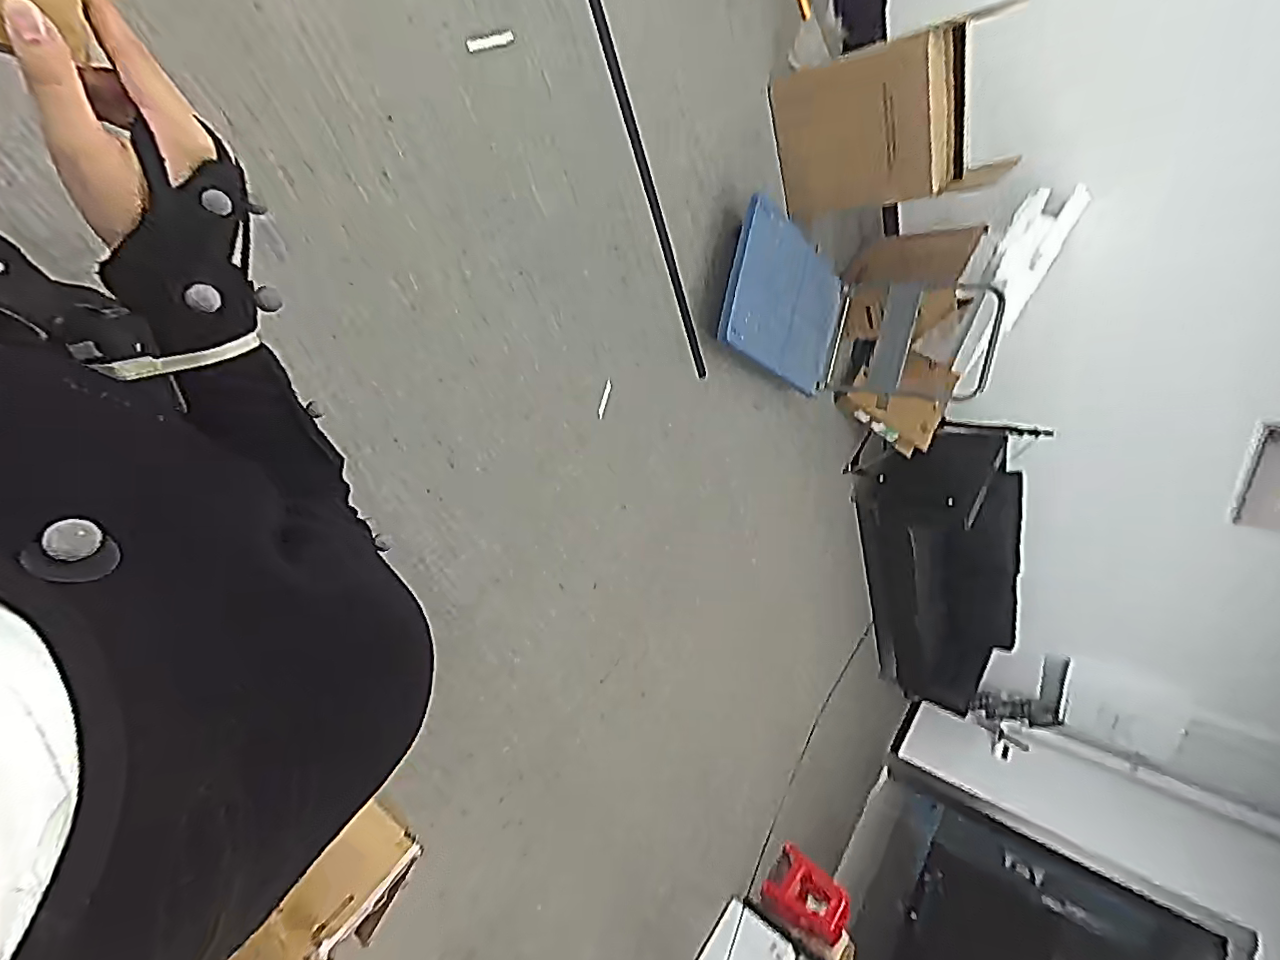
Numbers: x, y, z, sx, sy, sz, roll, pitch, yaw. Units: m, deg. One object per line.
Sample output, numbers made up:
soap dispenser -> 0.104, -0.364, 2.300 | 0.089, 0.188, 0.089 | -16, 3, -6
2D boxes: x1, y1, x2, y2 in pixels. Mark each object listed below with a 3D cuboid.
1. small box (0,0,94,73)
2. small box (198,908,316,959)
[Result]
small box -> -0.349, -0.298, 0.219 | 0.168, 0.176, 0.179 | -9, 122, -45
small box -> -0.596, 0.811, 0.816 | 0.179, 0.176, 0.168 | -36, 122, -33
